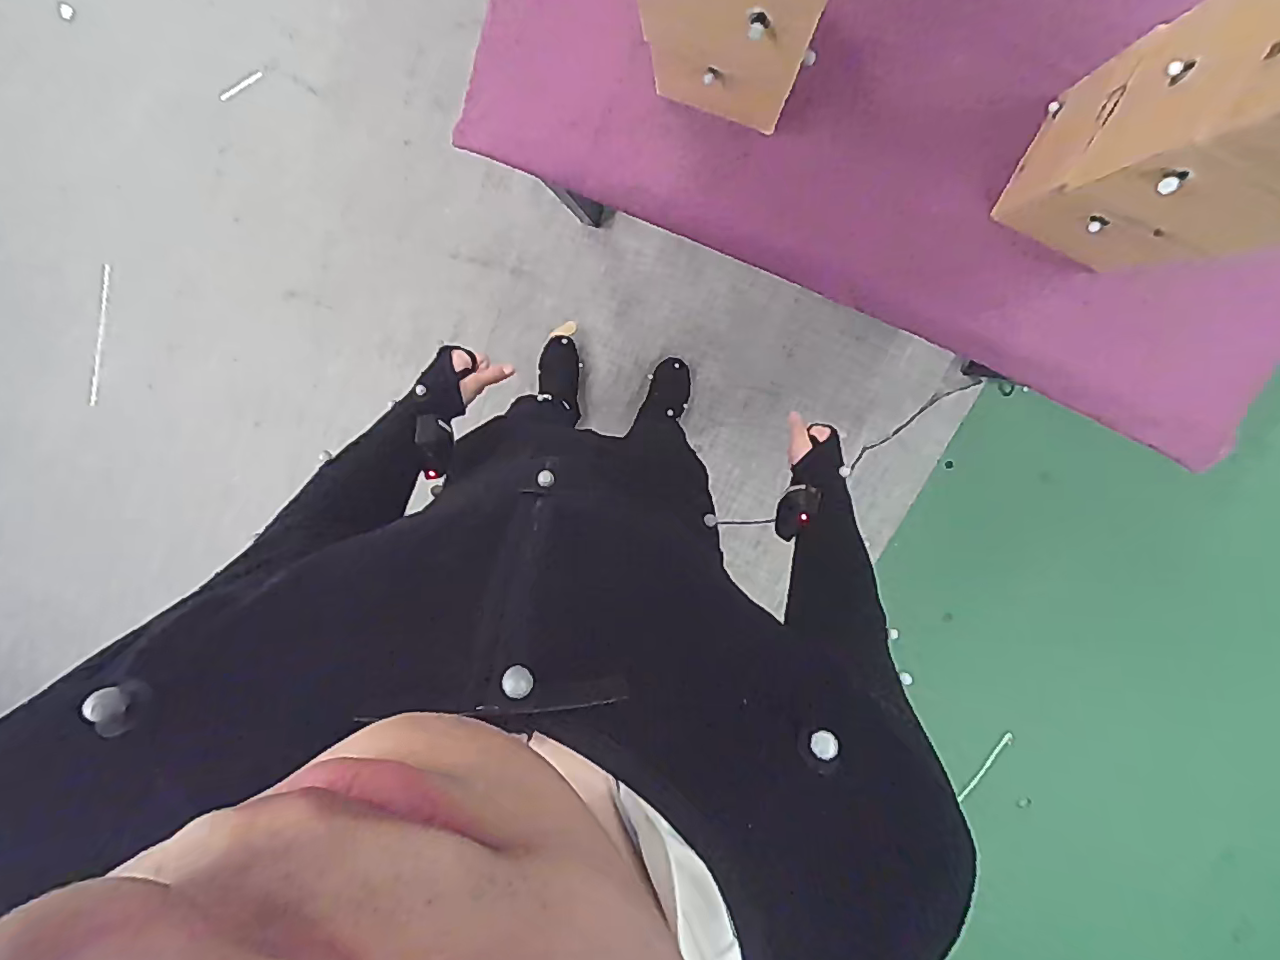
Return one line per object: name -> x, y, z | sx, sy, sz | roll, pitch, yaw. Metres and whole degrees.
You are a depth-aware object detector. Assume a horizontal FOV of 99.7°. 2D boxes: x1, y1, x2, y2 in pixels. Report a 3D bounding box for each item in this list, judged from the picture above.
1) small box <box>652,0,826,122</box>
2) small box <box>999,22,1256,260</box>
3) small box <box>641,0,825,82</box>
small box -> 0.128, -0.572, 0.660 | 0.179, 0.176, 0.168 | 21, 106, 1
small box -> 0.590, -0.384, 0.654 | 0.179, 0.176, 0.168 | 26, 106, -1
small box -> 0.107, -0.516, 0.505 | 0.179, 0.176, 0.168 | 23, 106, 1
